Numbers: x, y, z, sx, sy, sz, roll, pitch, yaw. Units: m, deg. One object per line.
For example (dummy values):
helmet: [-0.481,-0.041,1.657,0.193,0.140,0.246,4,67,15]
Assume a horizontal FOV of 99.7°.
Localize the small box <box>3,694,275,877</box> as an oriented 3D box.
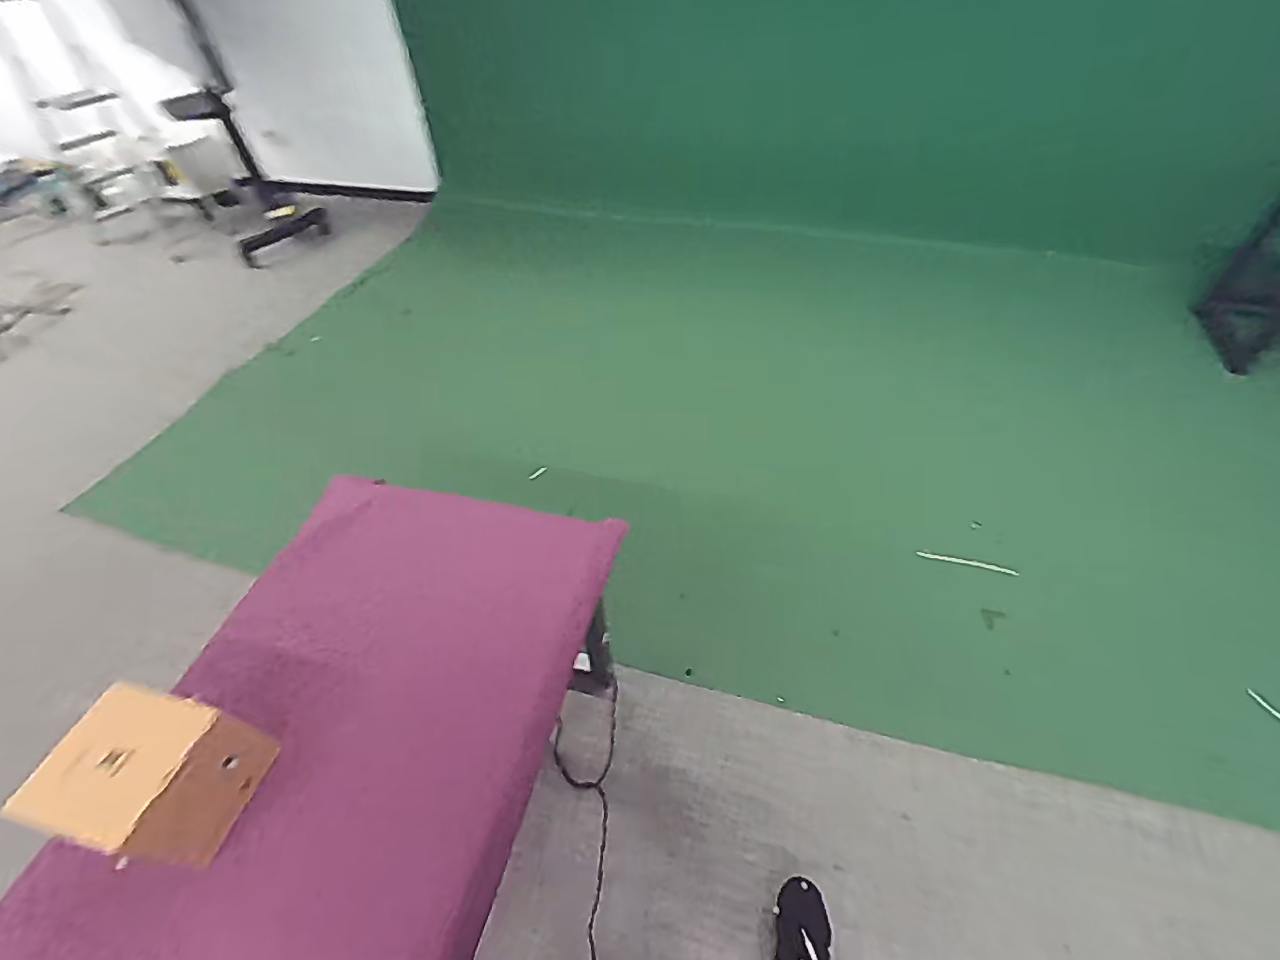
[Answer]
small box: [-0.658,0.422,0.742,0.179,0.176,0.168,8,48,10]
